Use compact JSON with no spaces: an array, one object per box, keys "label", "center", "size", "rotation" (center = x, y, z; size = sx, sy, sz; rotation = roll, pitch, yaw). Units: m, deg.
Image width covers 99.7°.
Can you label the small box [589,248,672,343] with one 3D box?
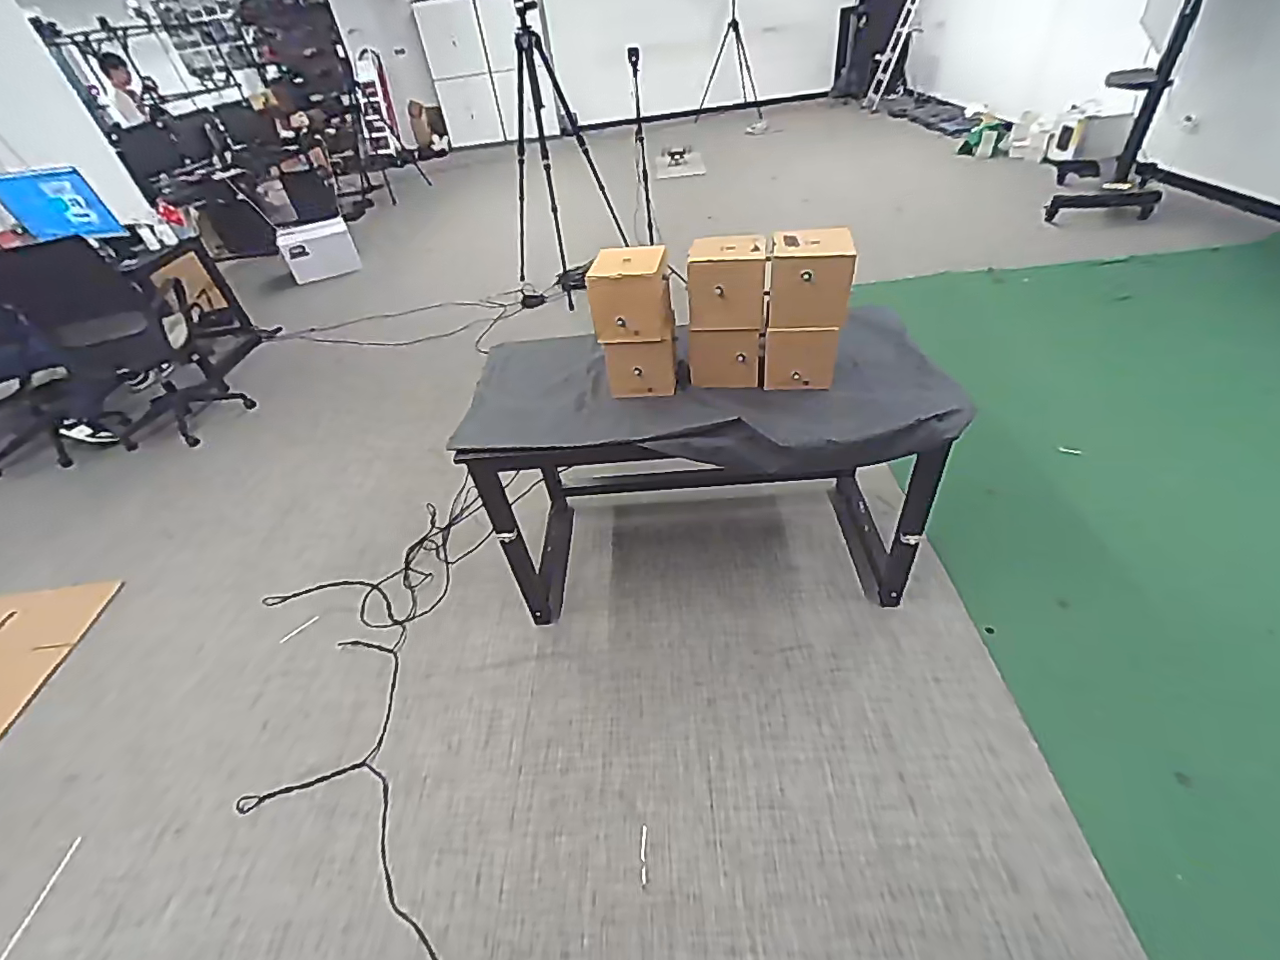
[{"label":"small box","center":[-0.016,-0.453,1.330],"size":[0.168,0.176,0.179],"rotation":[1,44,12]}]
